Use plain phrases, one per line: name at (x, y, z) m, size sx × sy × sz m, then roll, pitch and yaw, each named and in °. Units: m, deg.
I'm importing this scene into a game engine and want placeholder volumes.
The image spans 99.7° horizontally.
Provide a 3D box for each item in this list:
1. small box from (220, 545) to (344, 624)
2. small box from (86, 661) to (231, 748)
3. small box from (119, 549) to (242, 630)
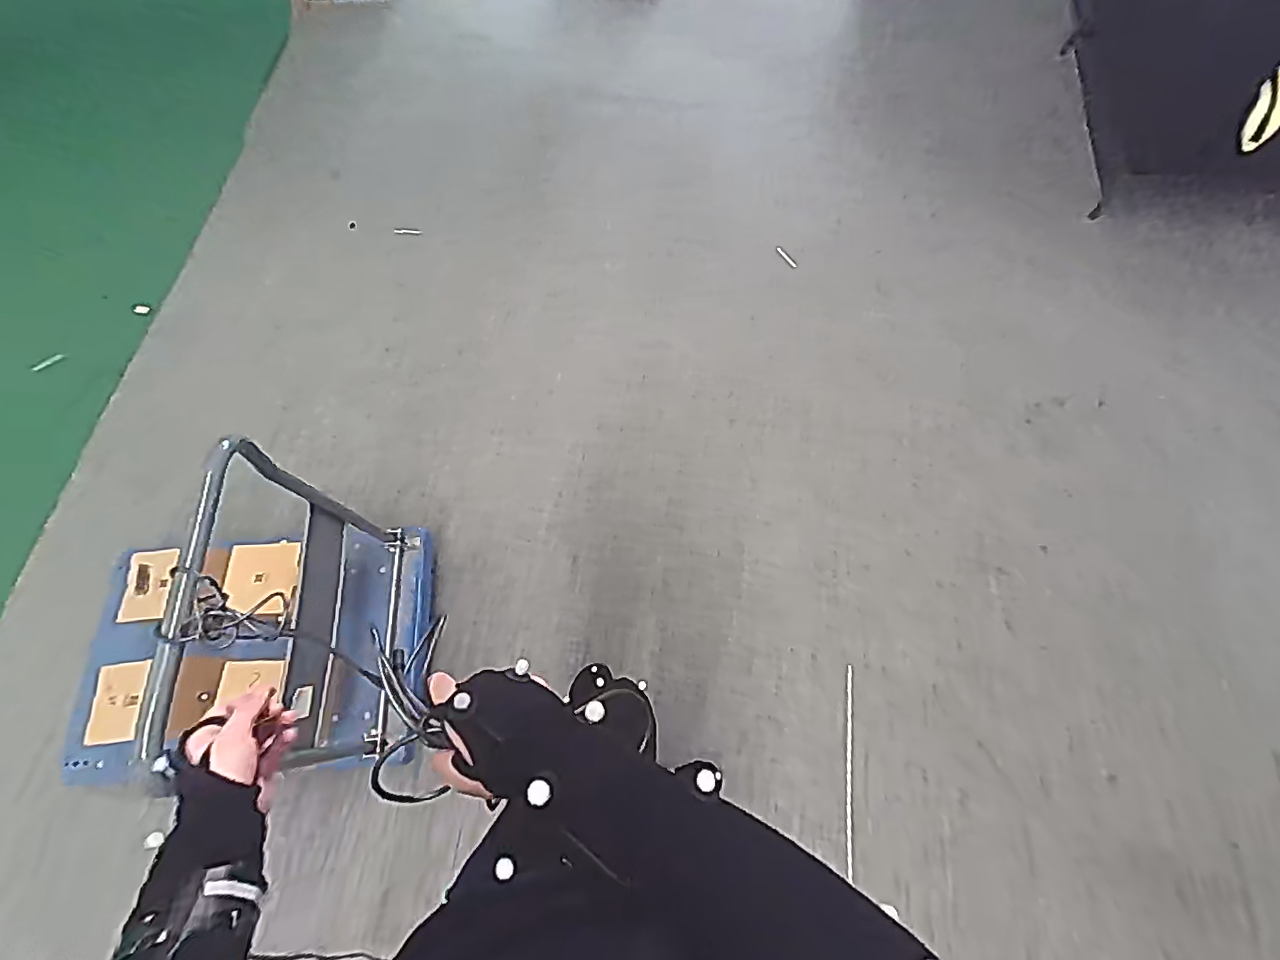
small box at (-0.872, 0.262, 1.333) m, size 0.179 × 0.176 × 0.168 m, roll -4°, pitch 69°, yaw 5°
small box at (-1.103, 0.516, 1.255) m, size 0.179 × 0.176 × 0.168 m, roll -8°, pitch 68°, yaw 2°
small box at (-1.118, 0.278, 1.346) m, size 0.179 × 0.176 × 0.168 m, roll -7°, pitch 70°, yaw 2°
